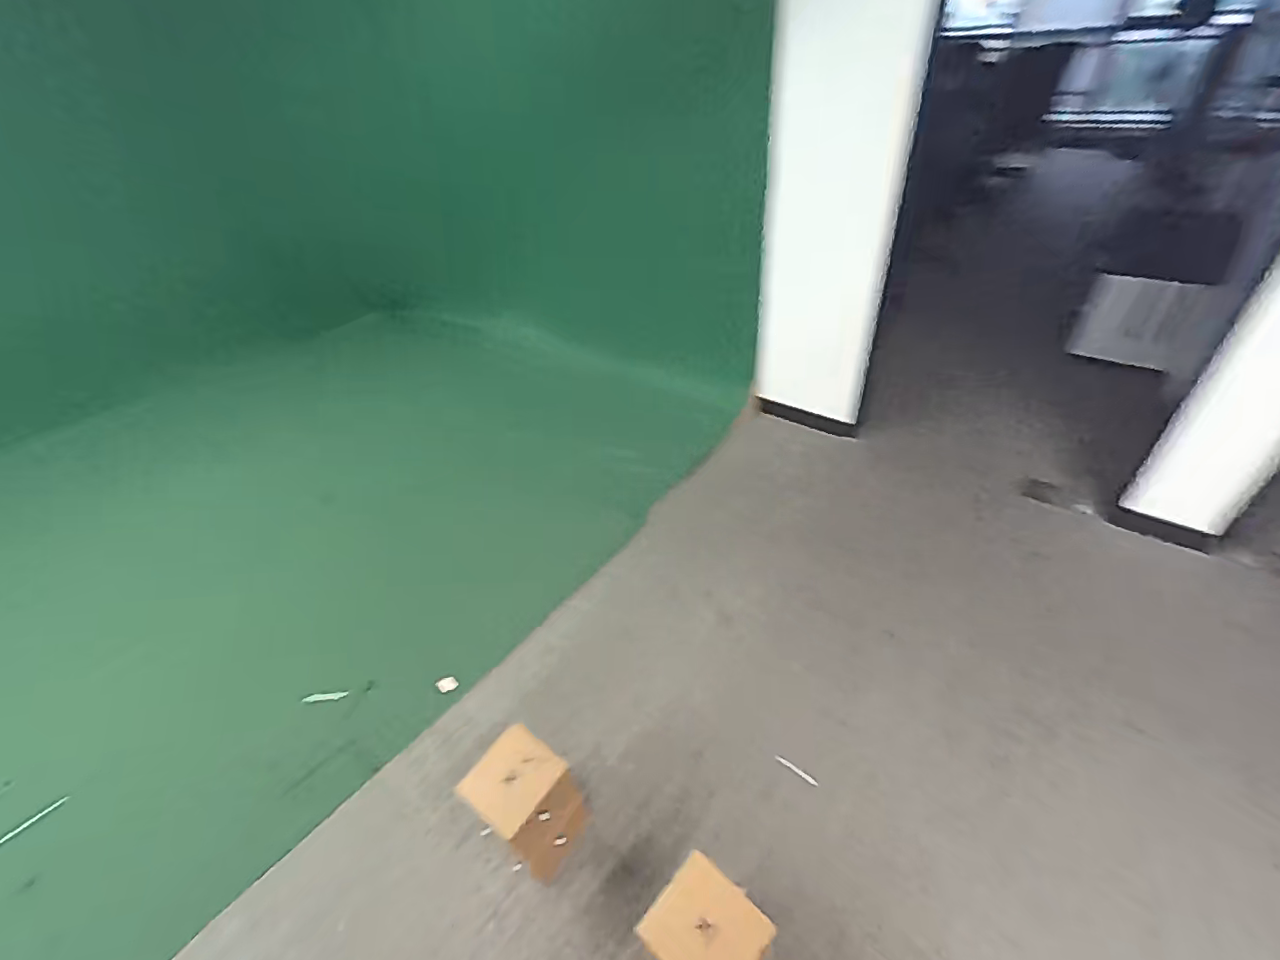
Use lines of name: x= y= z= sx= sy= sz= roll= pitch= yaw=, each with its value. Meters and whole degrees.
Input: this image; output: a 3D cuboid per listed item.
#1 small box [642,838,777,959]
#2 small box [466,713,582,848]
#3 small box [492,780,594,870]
small box: x=0.124 y=0.808 z=0.980 sx=0.179 sy=0.176 sz=0.168 roll=30 pitch=52 yaw=35
small box: x=-0.247 y=0.667 z=1.198 sx=0.168 sy=0.176 sz=0.179 roll=24 pitch=49 yaw=30
small box: x=-0.228 y=0.790 z=1.306 sx=0.168 sy=0.176 sz=0.179 roll=25 pitch=50 yaw=31
